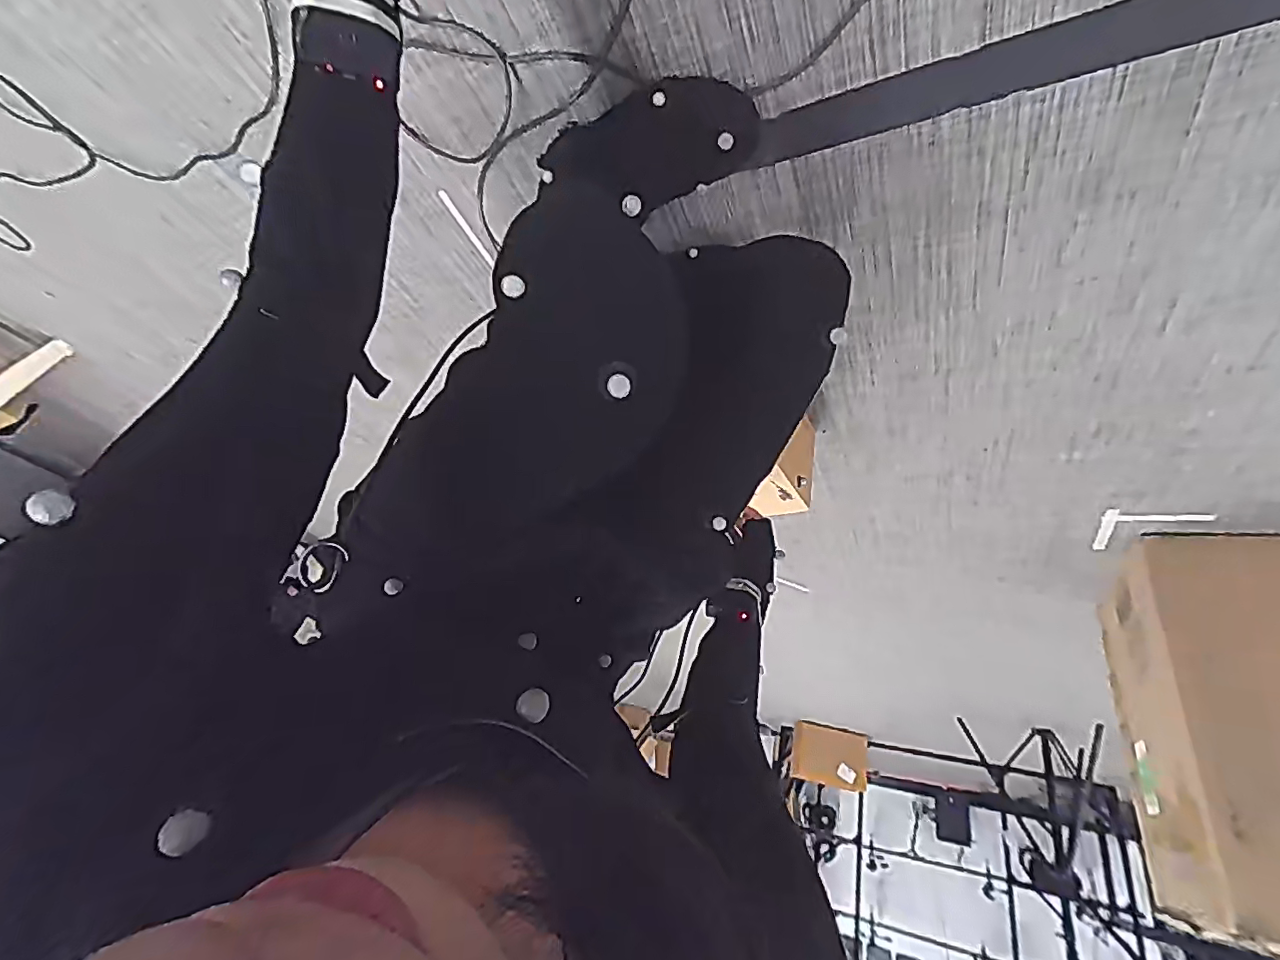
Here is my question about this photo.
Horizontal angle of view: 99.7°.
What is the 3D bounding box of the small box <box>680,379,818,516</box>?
[{"bbox_3d":[0.198,-0.053,0.952,0.179,0.176,0.168,-7,145,36],"label":"small box"}]
